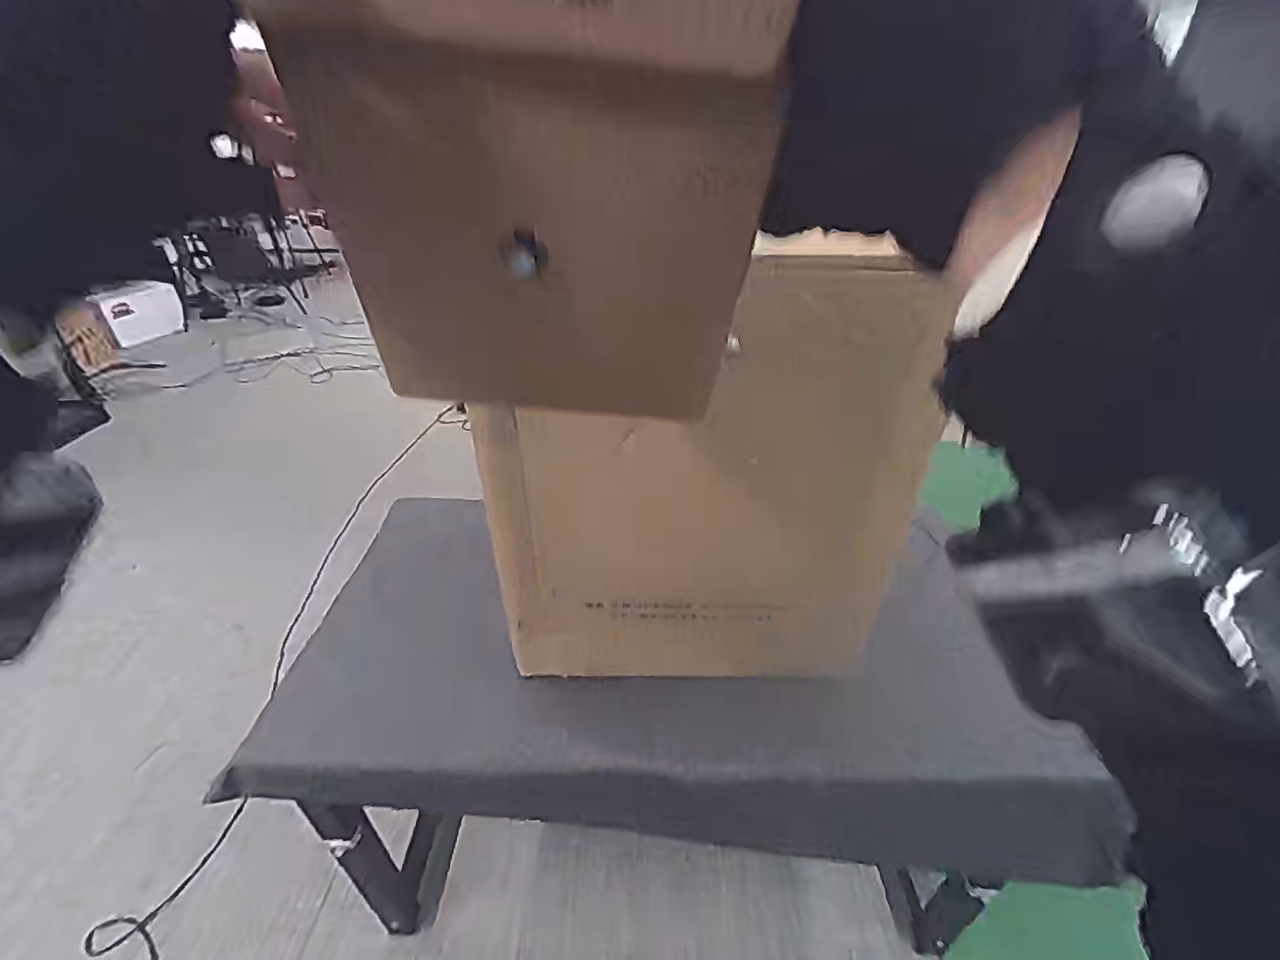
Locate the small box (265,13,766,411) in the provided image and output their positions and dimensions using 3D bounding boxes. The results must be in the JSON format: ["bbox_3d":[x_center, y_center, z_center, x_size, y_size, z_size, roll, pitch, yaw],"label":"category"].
[{"bbox_3d":[-0.045,-0.155,0.297,0.179,0.176,0.168,3,52,-2],"label":"small box"}]
